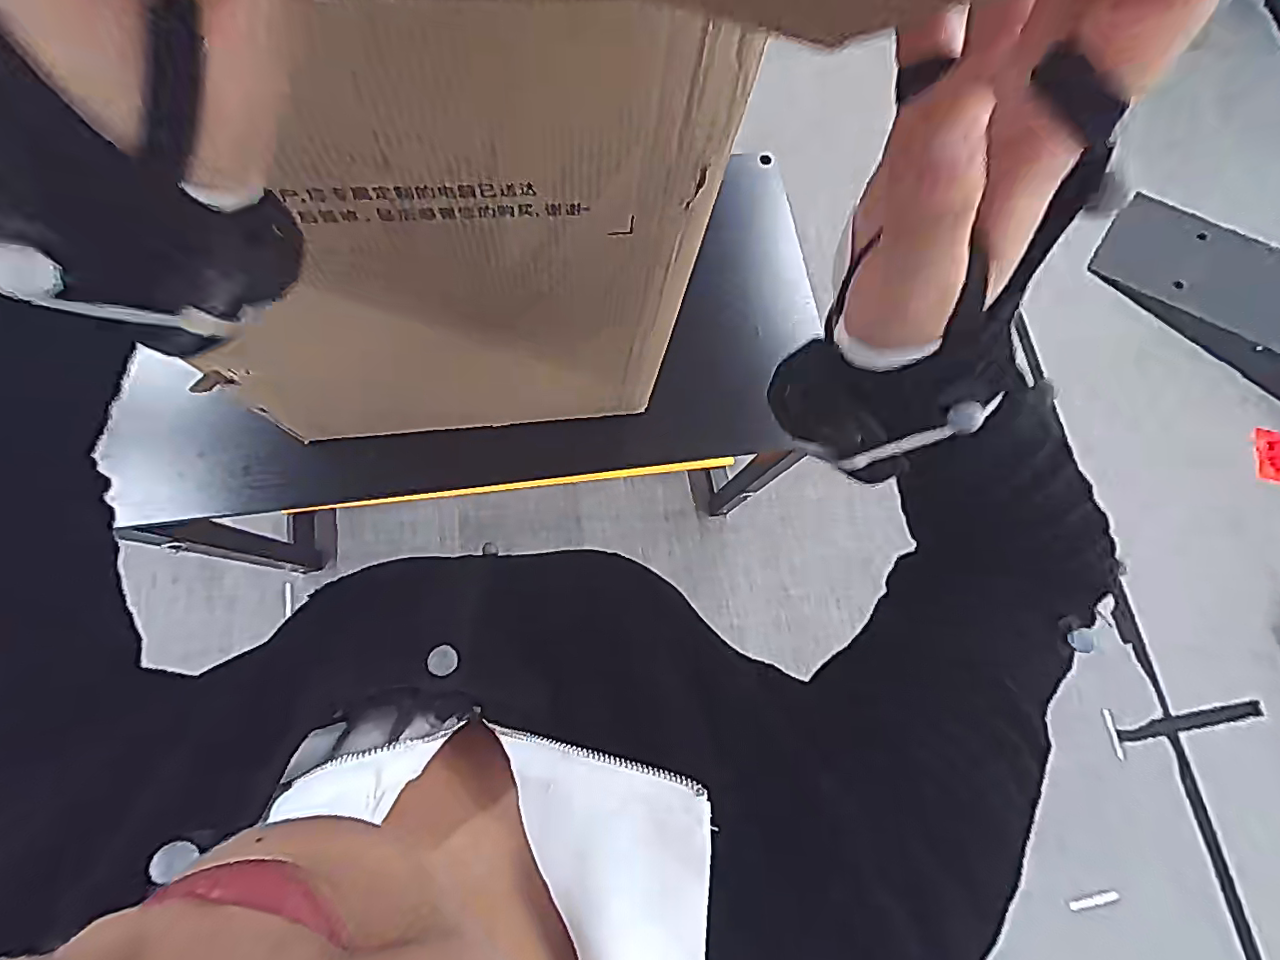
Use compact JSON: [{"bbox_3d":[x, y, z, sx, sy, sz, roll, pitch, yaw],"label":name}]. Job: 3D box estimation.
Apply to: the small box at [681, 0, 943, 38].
[{"bbox_3d":[0.020,-0.178,0.056,0.179,0.168,0.176,4,30,-16],"label":"small box"}]
